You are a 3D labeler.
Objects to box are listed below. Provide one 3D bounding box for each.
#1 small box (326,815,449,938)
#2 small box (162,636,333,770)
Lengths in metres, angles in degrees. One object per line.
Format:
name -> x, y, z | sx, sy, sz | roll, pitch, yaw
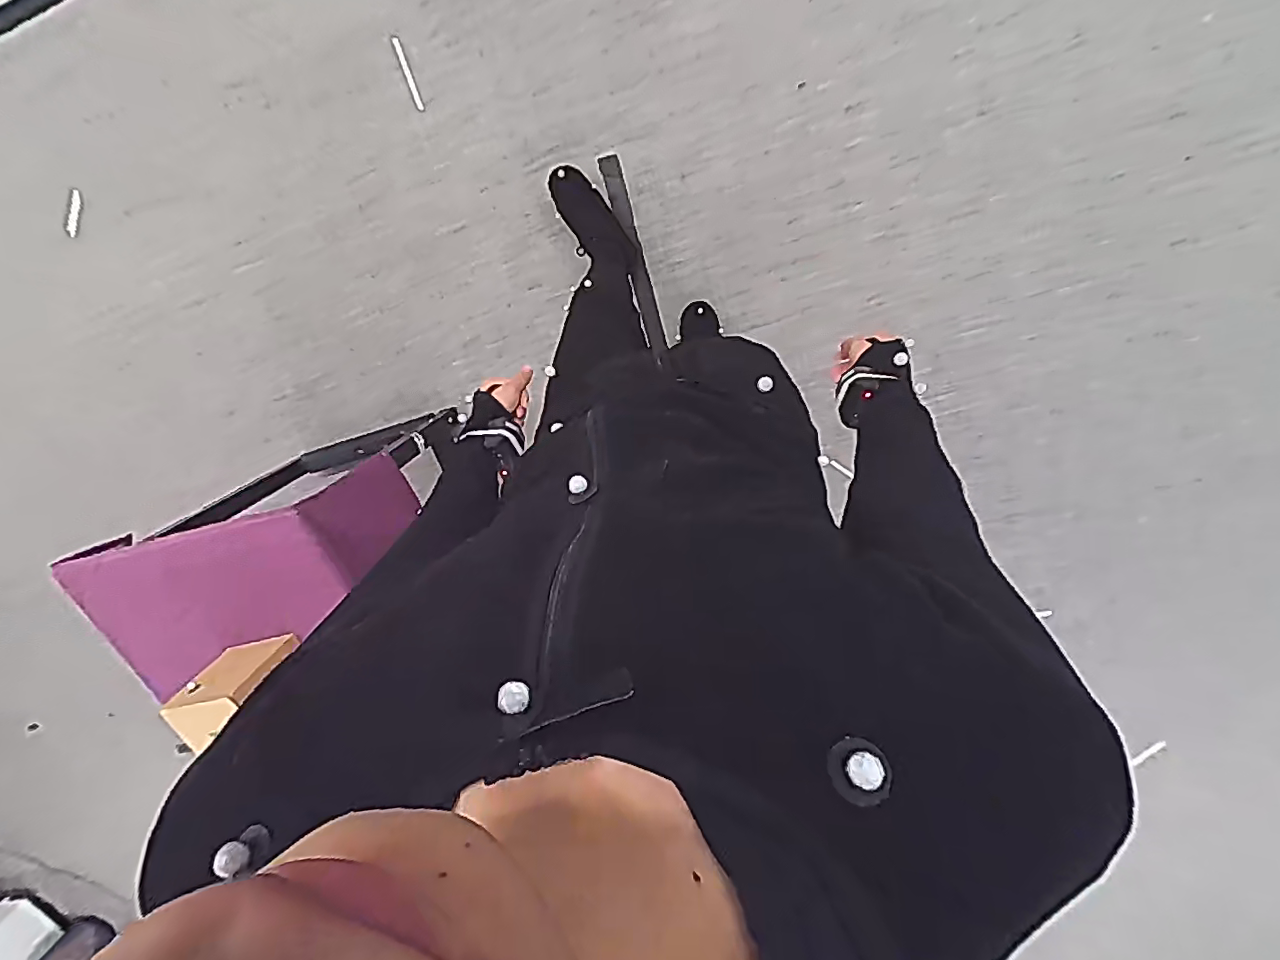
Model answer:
small box -> -0.576, 0.922, 1.268 | 0.179, 0.176, 0.168 | -23, 109, 16
small box -> -0.761, 0.435, 1.069 | 0.179, 0.176, 0.168 | -15, 112, 12
